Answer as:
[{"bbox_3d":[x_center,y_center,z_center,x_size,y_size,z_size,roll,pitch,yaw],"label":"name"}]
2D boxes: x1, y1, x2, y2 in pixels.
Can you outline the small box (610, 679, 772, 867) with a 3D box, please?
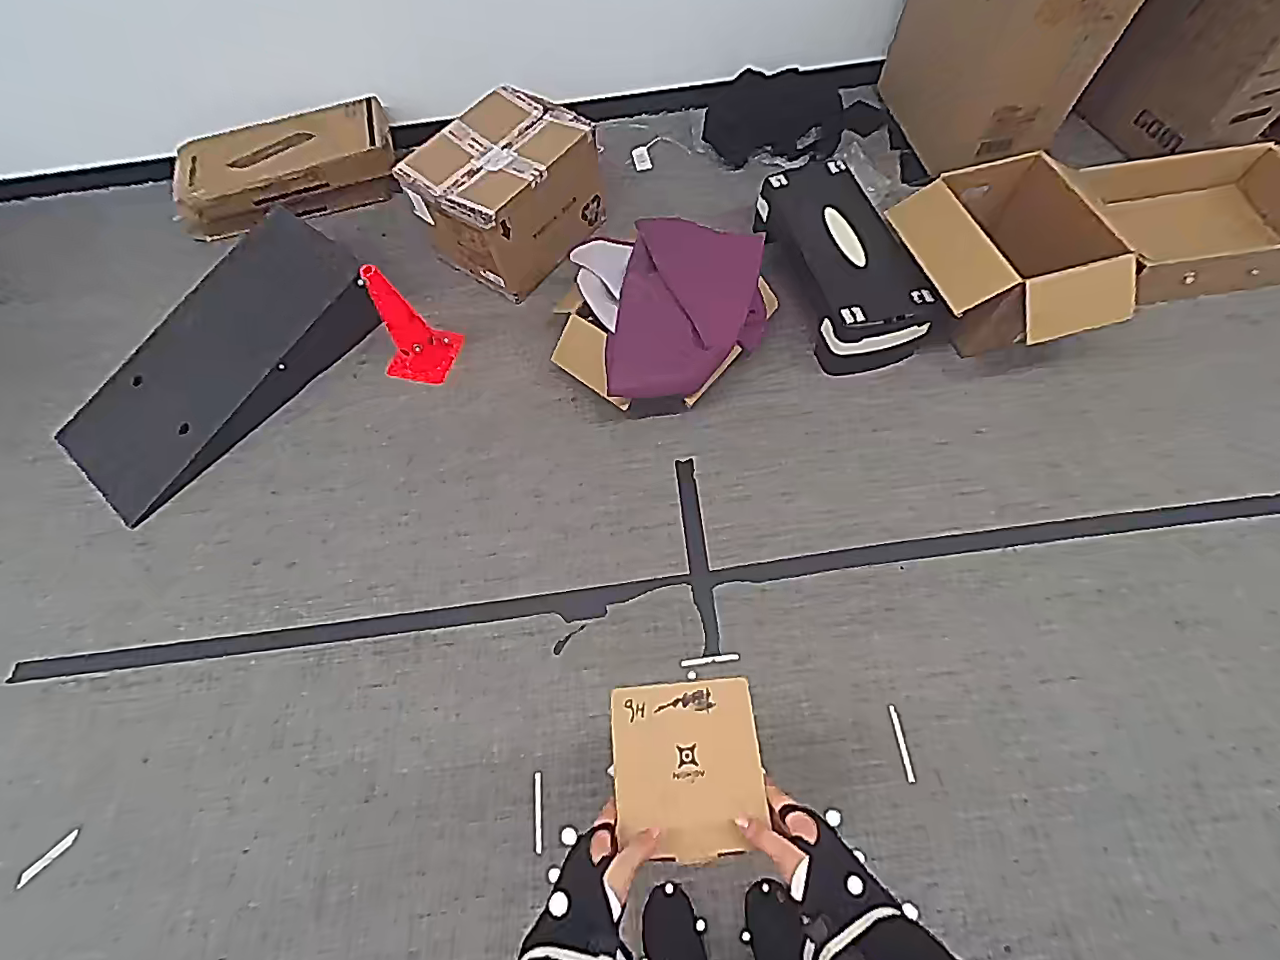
[{"bbox_3d":[0.056,0.350,0.663,0.168,0.176,0.179,-5,62,1],"label":"small box"}]
